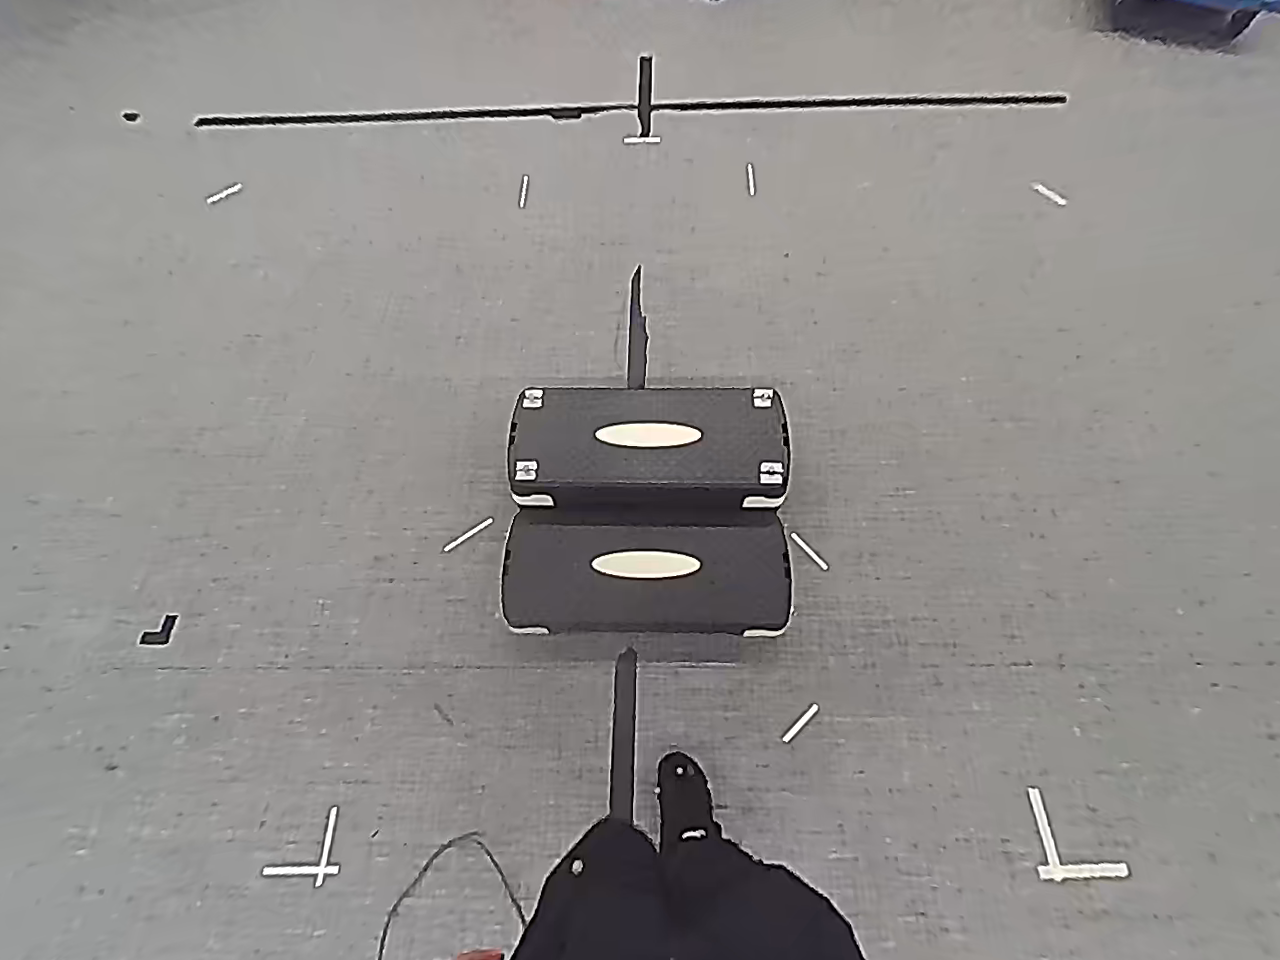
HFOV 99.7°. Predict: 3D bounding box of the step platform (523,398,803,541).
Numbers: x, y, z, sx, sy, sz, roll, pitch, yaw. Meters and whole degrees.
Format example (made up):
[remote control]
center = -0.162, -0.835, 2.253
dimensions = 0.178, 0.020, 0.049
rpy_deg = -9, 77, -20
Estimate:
[step platform]
center = 0.055, -0.029, 1.364
dimensions = 0.684, 0.204, 0.286
rpy_deg = 4, 64, 3
